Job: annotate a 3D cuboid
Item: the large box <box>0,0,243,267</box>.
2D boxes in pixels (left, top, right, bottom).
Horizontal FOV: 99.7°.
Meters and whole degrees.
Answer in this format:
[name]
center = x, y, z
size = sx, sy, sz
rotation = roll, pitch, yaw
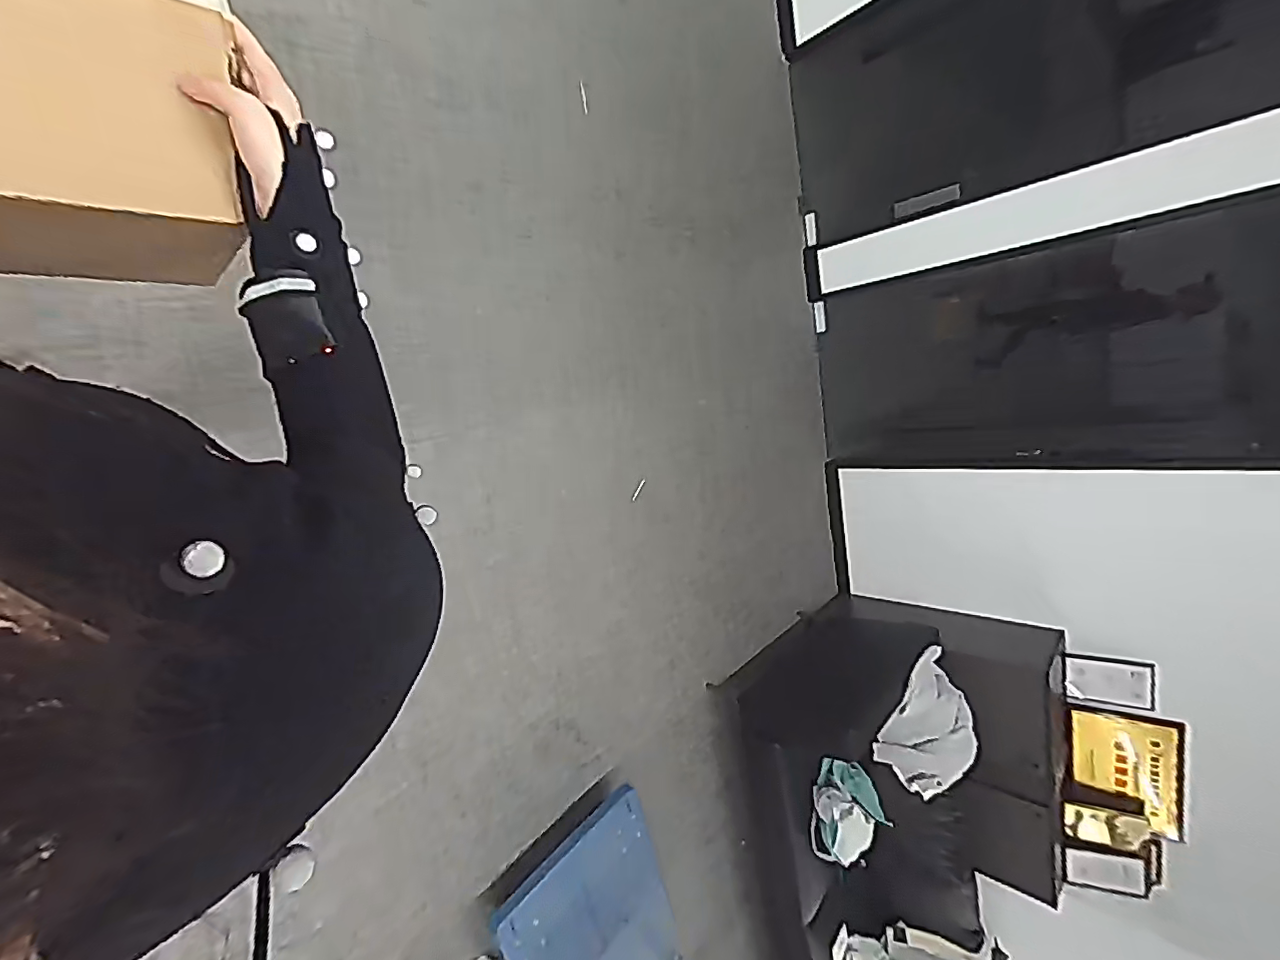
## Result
[large box]
center = -0.572, -0.346, 0.387
size = 0.408, 0.320, 0.320
rotation = -13, 105, -40
